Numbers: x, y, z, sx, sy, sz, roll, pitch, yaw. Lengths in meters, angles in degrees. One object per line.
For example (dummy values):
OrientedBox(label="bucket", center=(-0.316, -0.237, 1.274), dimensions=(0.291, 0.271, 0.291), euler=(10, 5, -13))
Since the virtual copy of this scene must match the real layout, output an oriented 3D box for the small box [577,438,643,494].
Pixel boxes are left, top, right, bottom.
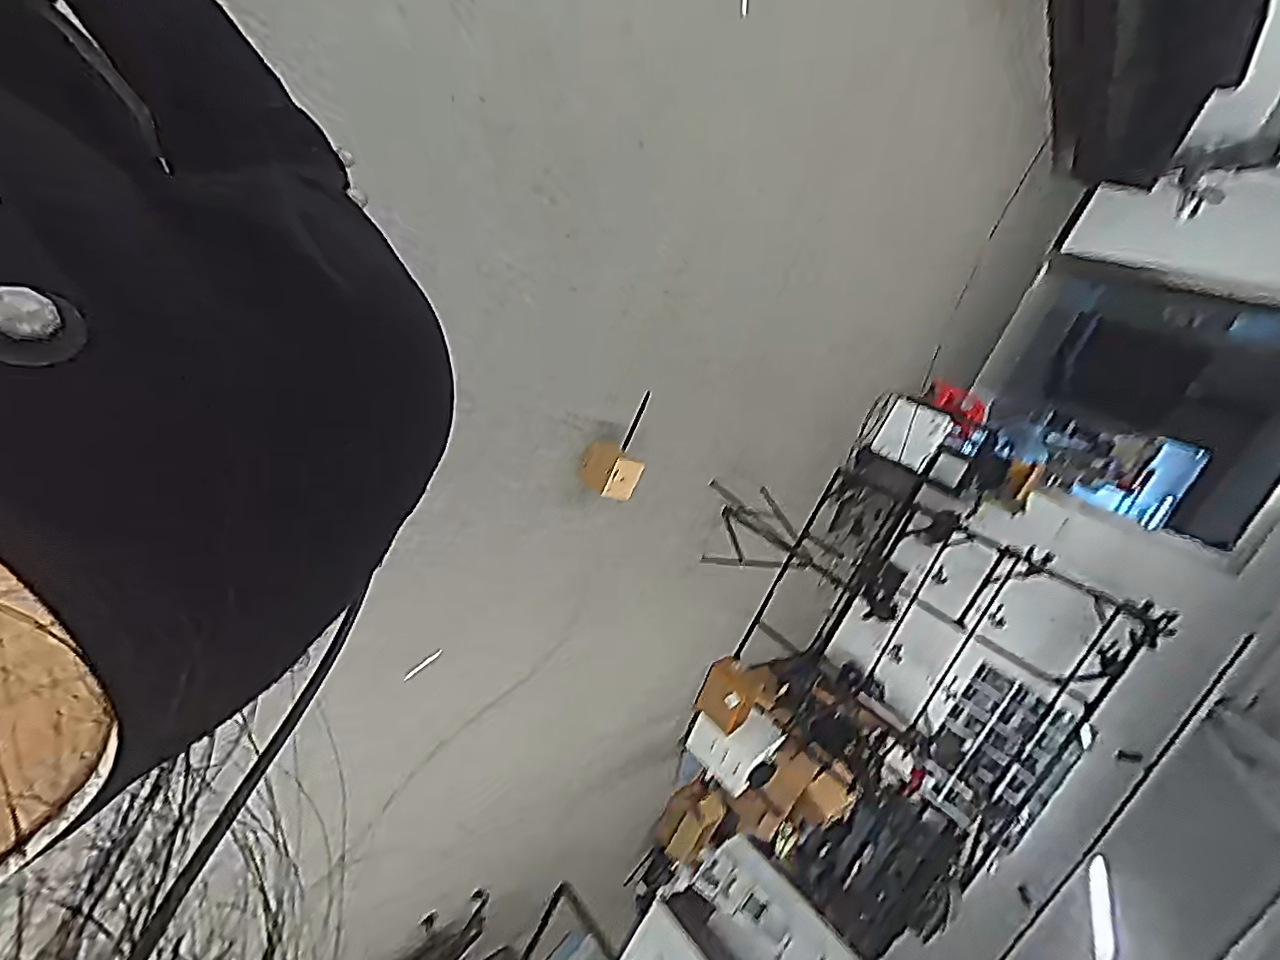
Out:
OrientedBox(label="small box", center=(-0.125, -0.058, 2.222), dimensions=(0.179, 0.176, 0.168), euler=(8, 111, -53))
